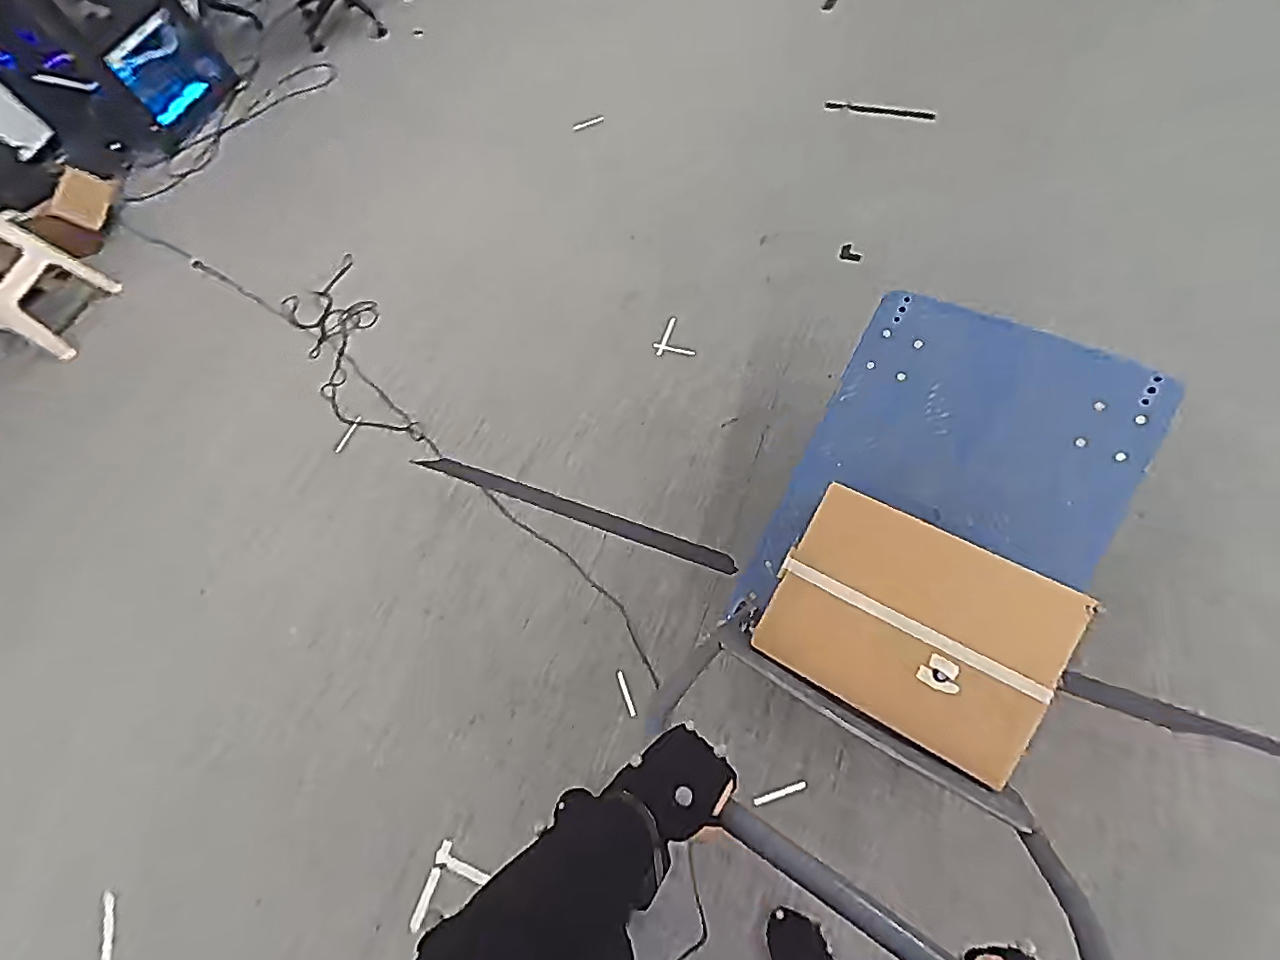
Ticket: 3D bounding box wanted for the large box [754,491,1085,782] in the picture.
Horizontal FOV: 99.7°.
[{"bbox_3d":[0.468,0.253,1.002,0.408,0.320,0.320,27,92,19],"label":"large box"}]
